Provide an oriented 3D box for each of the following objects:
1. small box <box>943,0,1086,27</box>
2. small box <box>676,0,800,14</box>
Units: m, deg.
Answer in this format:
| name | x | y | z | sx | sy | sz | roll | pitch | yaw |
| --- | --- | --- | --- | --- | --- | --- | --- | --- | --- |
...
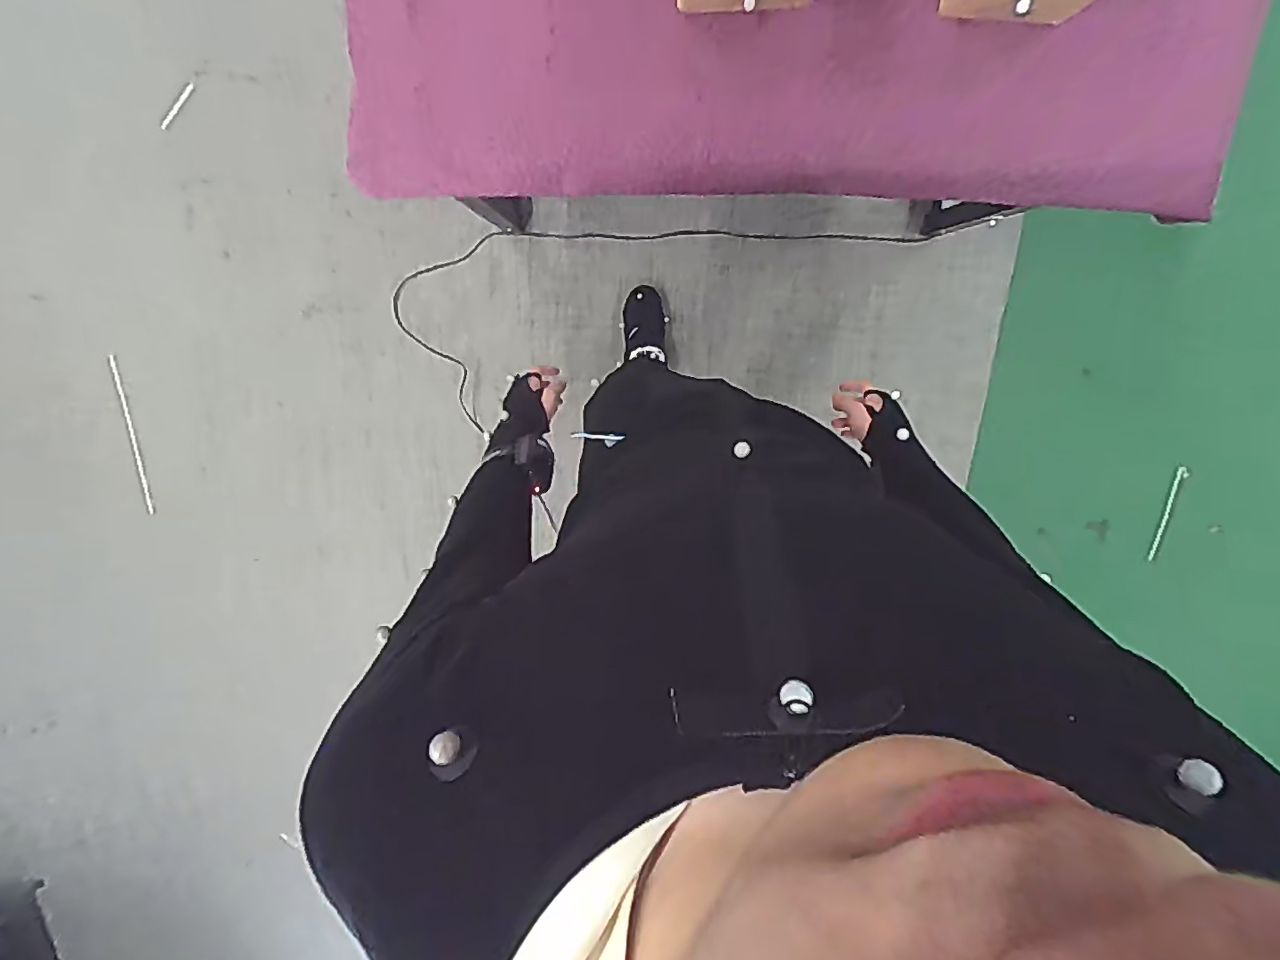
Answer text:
| name | x | y | z | sx | sy | sz | roll | pitch | yaw |
| --- | --- | --- | --- | --- | --- | --- | --- | --- | --- |
| small box | 0.478 | -0.670 | 0.616 | 0.168 | 0.176 | 0.179 | 3 | 106 | -1 |
| small box | 0.133 | -0.671 | 0.614 | 0.179 | 0.176 | 0.168 | -3 | 106 | 0 |
